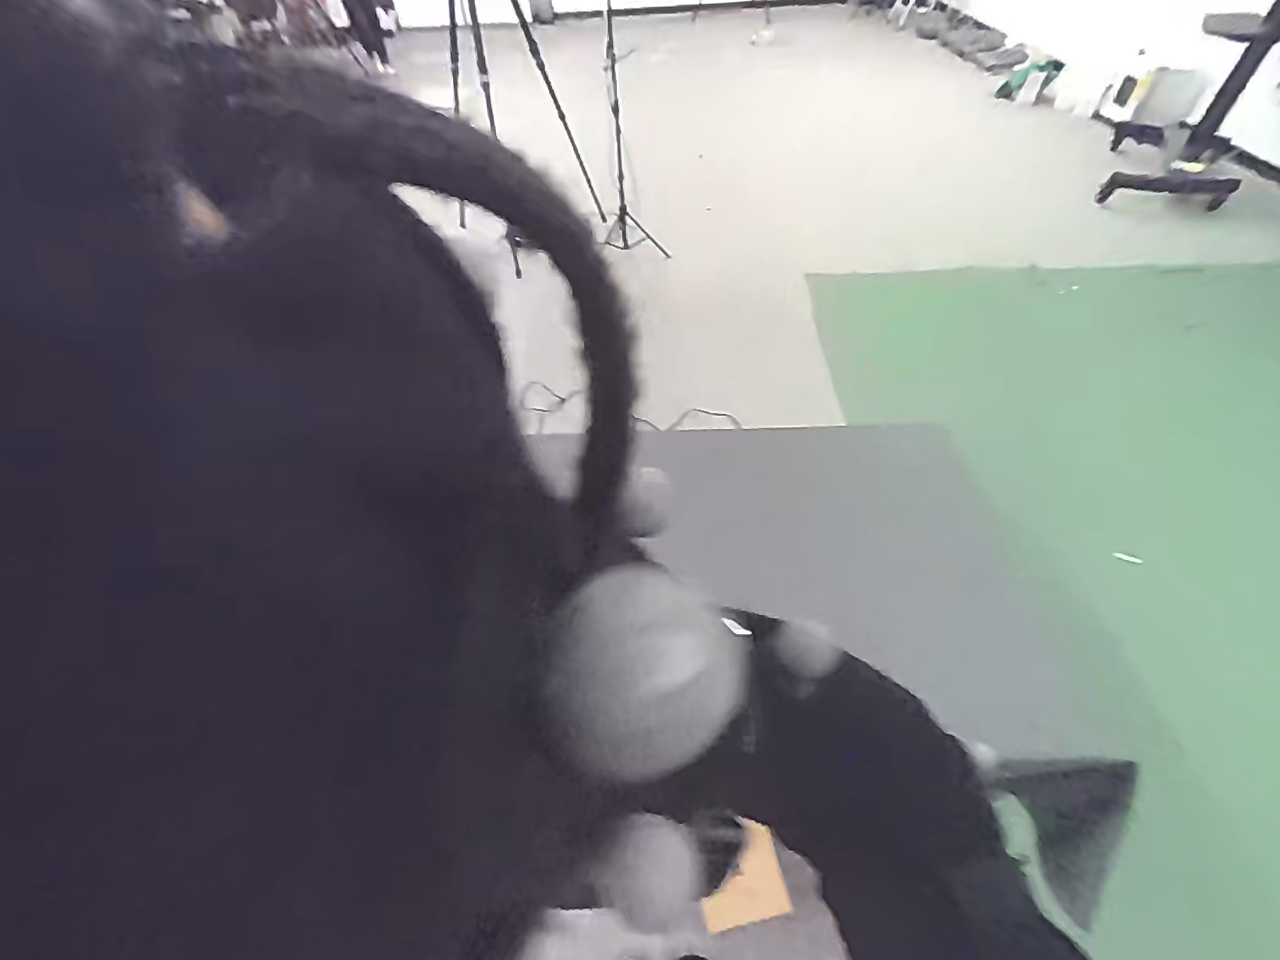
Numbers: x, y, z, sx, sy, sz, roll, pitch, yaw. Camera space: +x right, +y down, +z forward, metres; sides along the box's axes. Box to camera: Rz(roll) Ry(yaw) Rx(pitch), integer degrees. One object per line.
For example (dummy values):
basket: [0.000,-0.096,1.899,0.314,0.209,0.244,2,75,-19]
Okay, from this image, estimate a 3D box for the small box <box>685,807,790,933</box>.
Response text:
small box: [0.193,0.815,1.130,0.168,0.176,0.179,-10,49,-6]
